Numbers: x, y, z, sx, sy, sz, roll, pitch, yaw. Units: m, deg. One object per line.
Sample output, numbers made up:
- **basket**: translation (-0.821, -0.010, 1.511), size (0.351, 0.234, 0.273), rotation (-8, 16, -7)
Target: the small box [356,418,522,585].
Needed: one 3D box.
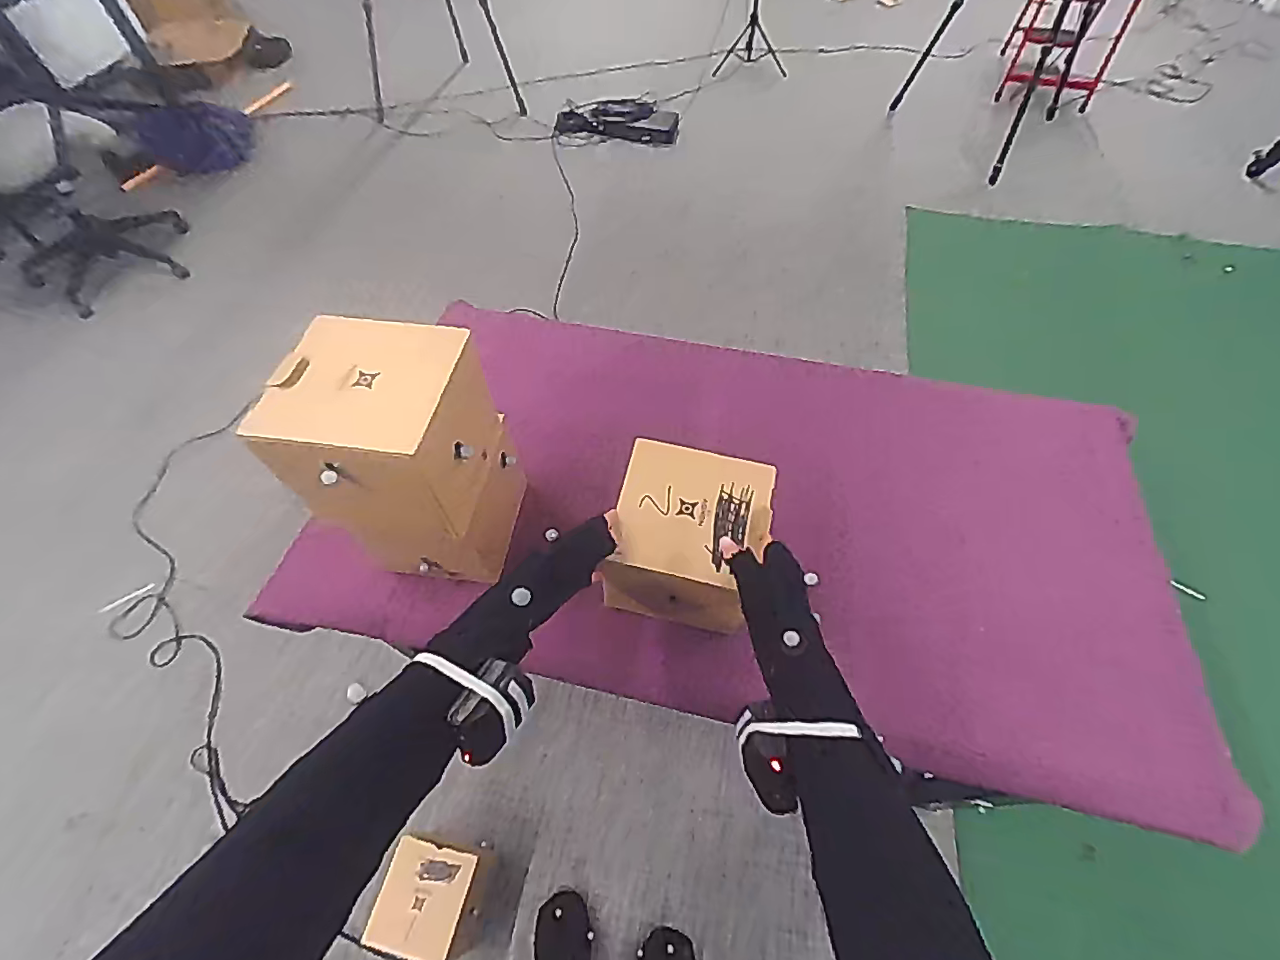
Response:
- **small box**: translation (-0.271, 0.023, 0.746), size (0.168, 0.176, 0.179), rotation (7, 57, 4)

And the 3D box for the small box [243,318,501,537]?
- **small box**: translation (-0.269, -0.051, 0.599), size (0.179, 0.176, 0.168), rotation (8, 57, 5)
